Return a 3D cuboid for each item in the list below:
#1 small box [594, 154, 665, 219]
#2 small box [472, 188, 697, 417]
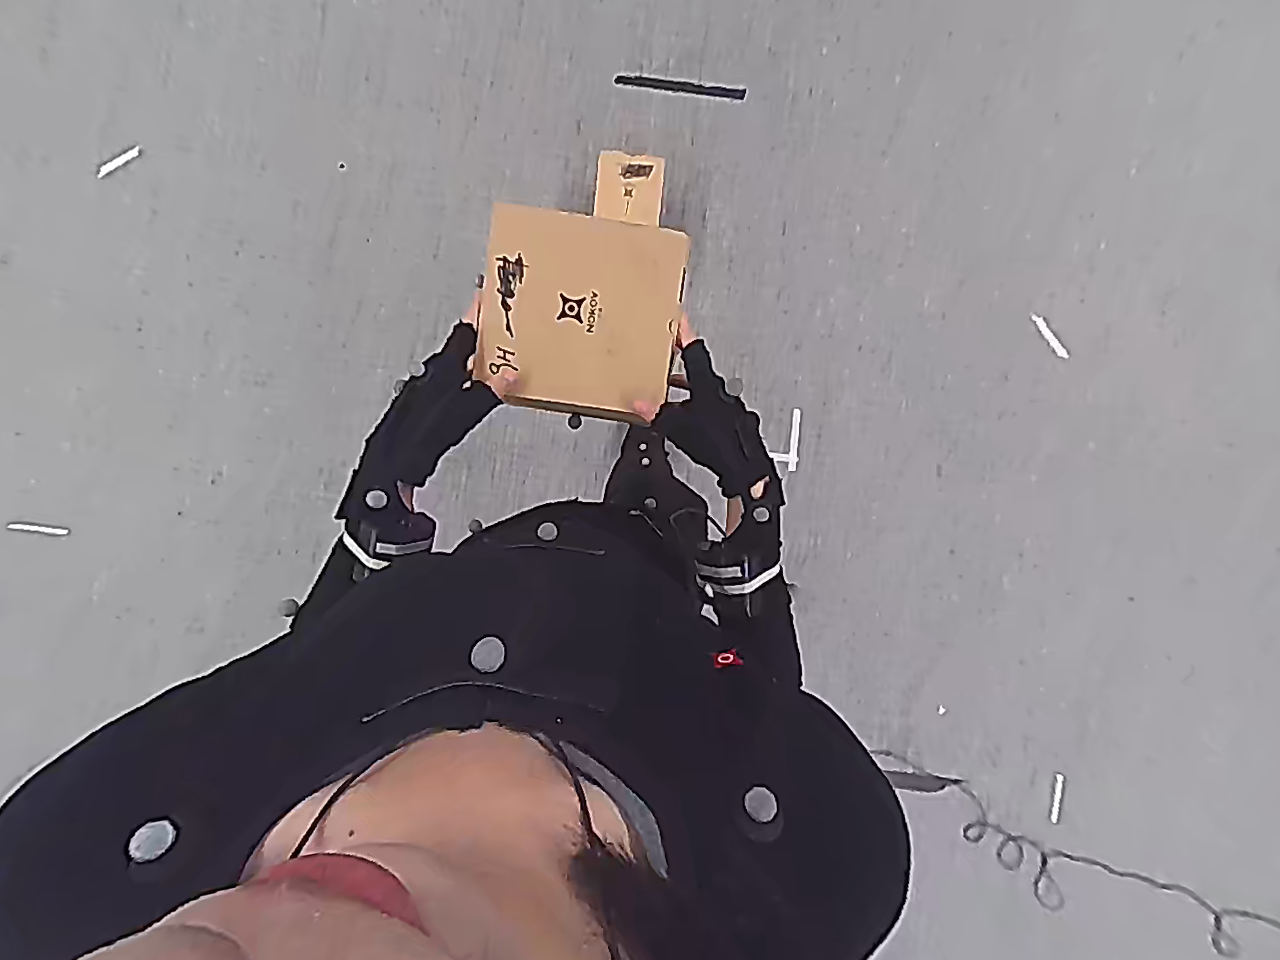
[{"bbox_3d":[-0.031,-0.710,1.415,0.168,0.176,0.179,6,91,-2],"label":"small box"},{"bbox_3d":[-0.054,-0.159,0.546,0.179,0.176,0.168,8,92,-5],"label":"small box"}]
